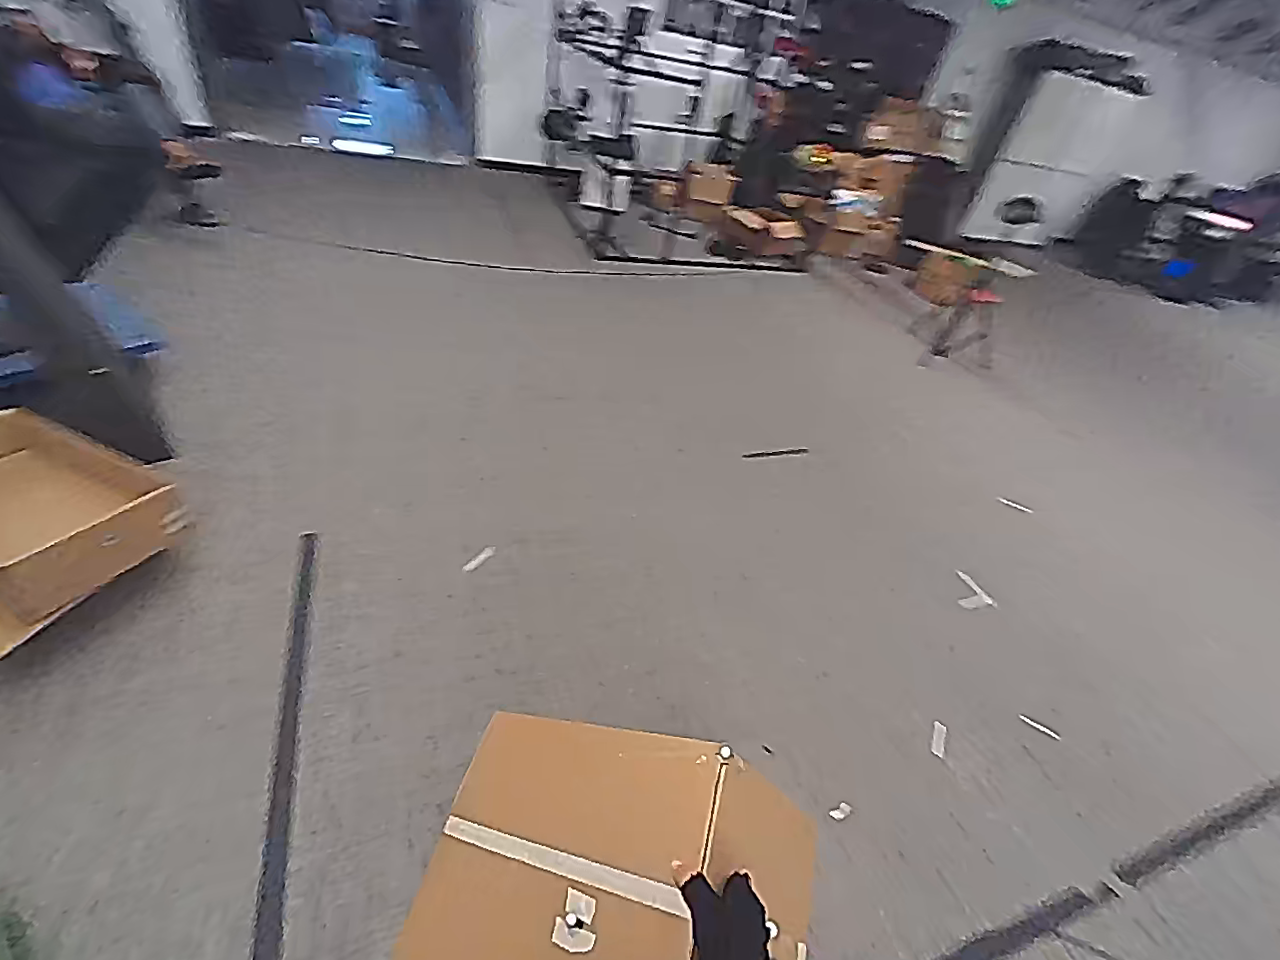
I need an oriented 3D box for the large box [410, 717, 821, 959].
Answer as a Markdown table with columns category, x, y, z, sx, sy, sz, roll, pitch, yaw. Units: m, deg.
| category | x | y | z | sx | sy | sz | roll | pitch | yaw |
| --- | --- | --- | --- | --- | --- | --- | --- | --- | --- |
| large box | -0.012 | 0.559 | 0.740 | 0.408 | 0.320 | 0.320 | -9 | 45 | 35 |
